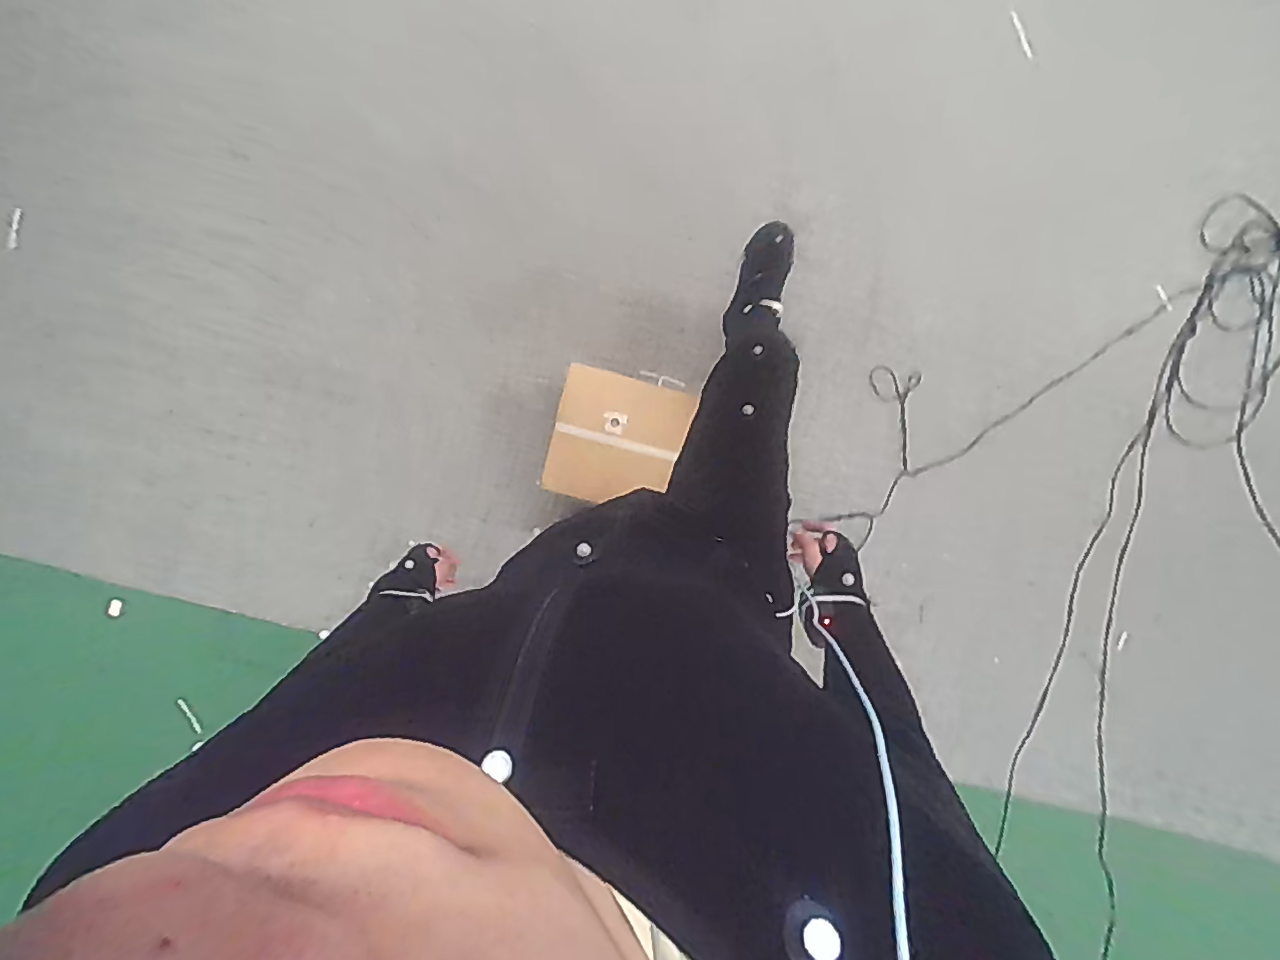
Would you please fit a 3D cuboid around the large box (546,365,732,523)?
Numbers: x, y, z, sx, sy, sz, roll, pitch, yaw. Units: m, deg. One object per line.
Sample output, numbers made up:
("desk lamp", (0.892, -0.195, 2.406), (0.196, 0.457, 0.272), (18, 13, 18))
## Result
("large box", (-0.007, -0.099, 1.453), (0.408, 0.320, 0.320), (14, 94, -4))
